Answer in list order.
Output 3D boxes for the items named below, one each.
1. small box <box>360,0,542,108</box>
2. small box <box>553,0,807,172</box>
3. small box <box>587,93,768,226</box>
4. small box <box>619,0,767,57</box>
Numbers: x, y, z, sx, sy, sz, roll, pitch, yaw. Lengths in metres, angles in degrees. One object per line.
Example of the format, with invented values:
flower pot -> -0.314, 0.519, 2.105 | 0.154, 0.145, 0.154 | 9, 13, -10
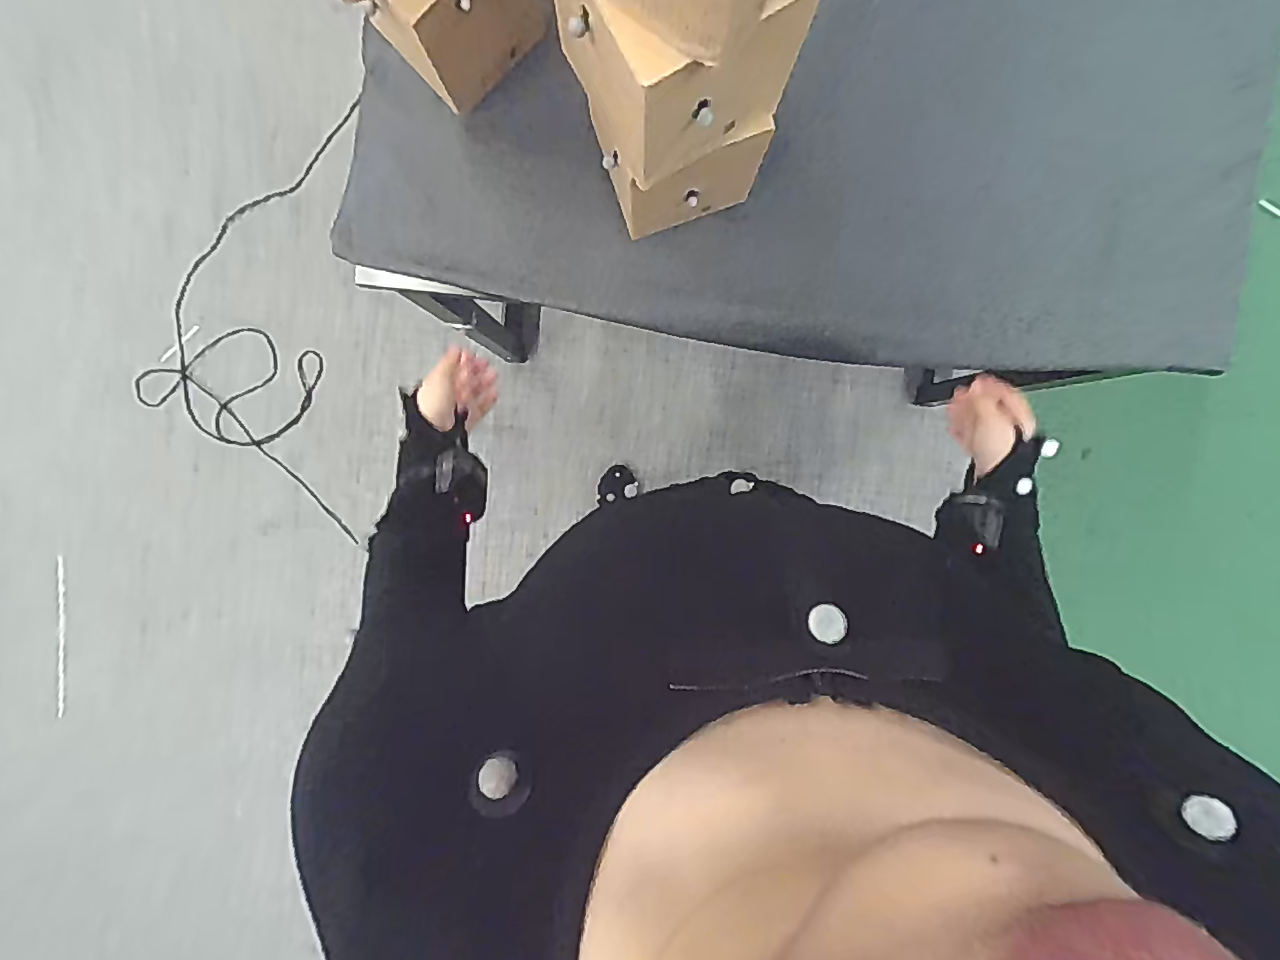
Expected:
small box -> -0.243, -0.605, 0.644 | 0.168, 0.176, 0.179 | -44, 92, 3
small box -> 0.028, -0.418, 0.488 | 0.168, 0.176, 0.179 | -30, 92, 2
small box -> 0.036, -0.432, 0.650 | 0.168, 0.176, 0.179 | -19, 92, 1
small box -> 0.031, -0.418, 0.326 | 0.179, 0.176, 0.168 | 34, 94, -1
